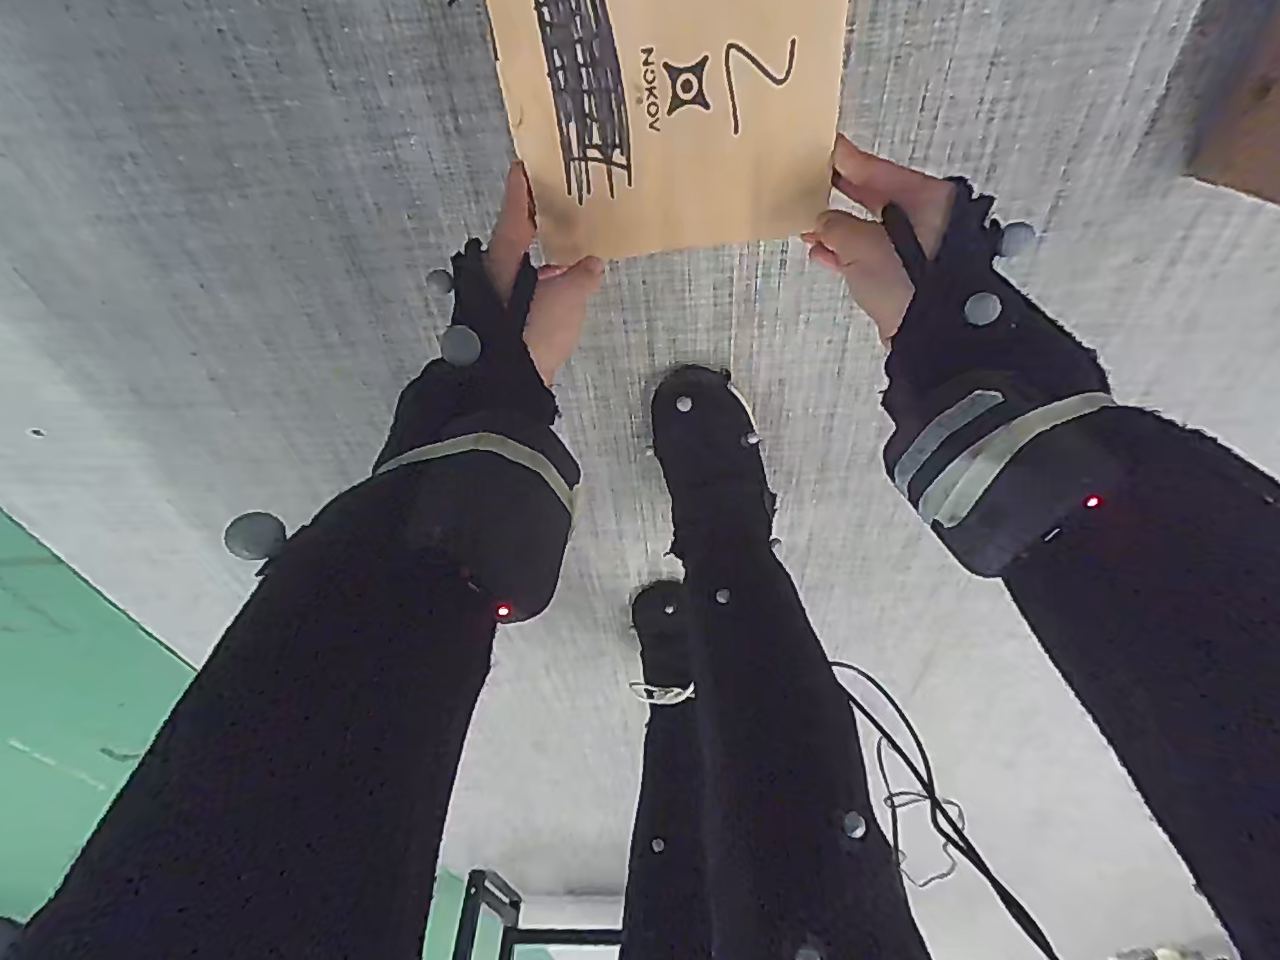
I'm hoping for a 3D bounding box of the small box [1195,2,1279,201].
[{"bbox_3d":[0.525,-0.260,0.323,0.179,0.176,0.168,-1,132,3],"label":"small box"}]
